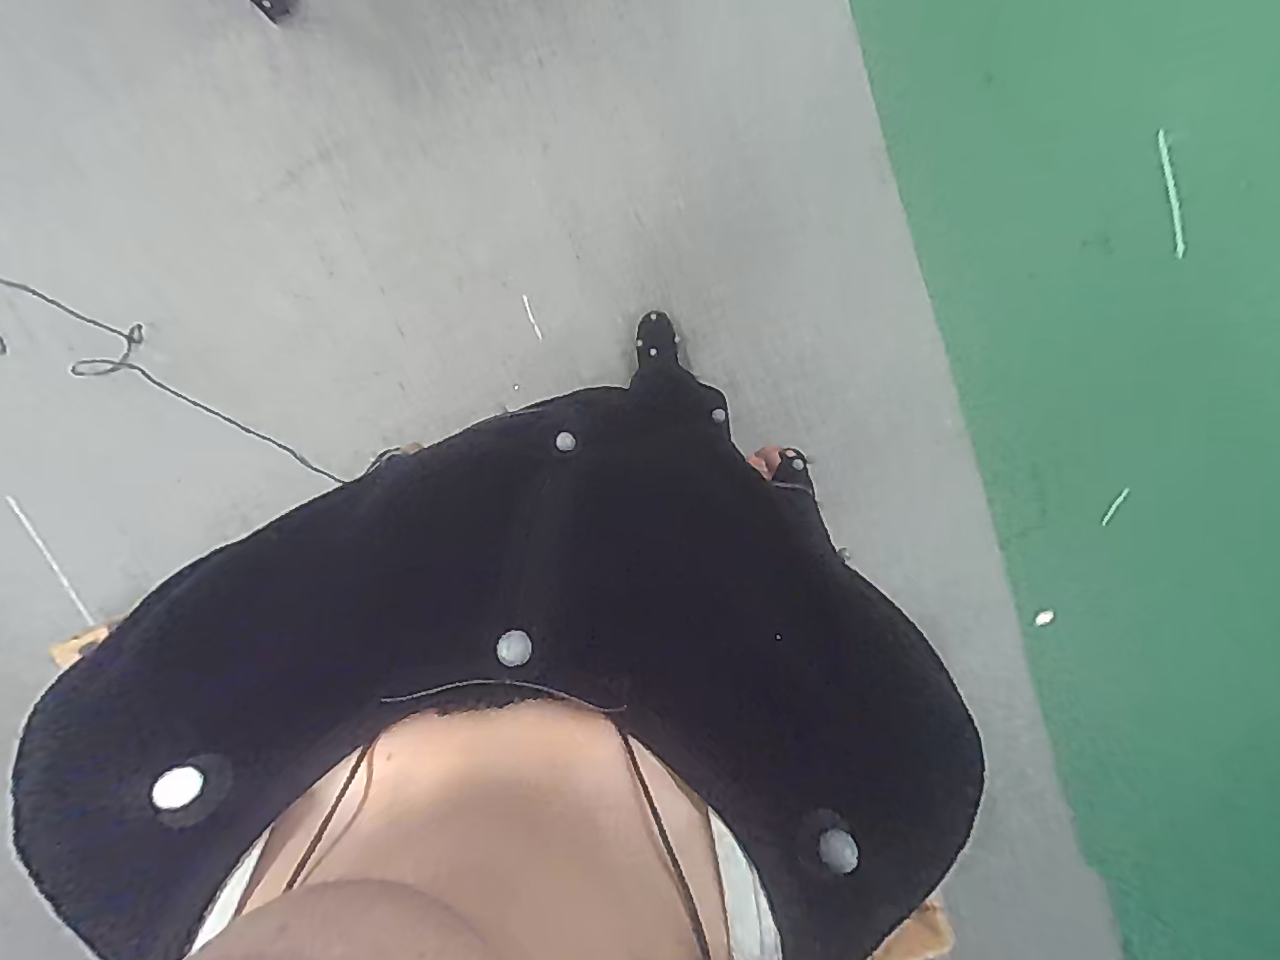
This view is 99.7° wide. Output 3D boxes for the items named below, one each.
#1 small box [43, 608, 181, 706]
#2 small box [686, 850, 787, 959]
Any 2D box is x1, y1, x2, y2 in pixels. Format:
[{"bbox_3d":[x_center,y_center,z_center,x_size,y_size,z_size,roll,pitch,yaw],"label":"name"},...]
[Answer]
[{"bbox_3d":[-1.422,0.468,1.469,0.168,0.176,0.179,-21,101,3],"label":"small box"},{"bbox_3d":[0.206,0.948,1.157,0.168,0.176,0.179,-18,101,0],"label":"small box"}]
